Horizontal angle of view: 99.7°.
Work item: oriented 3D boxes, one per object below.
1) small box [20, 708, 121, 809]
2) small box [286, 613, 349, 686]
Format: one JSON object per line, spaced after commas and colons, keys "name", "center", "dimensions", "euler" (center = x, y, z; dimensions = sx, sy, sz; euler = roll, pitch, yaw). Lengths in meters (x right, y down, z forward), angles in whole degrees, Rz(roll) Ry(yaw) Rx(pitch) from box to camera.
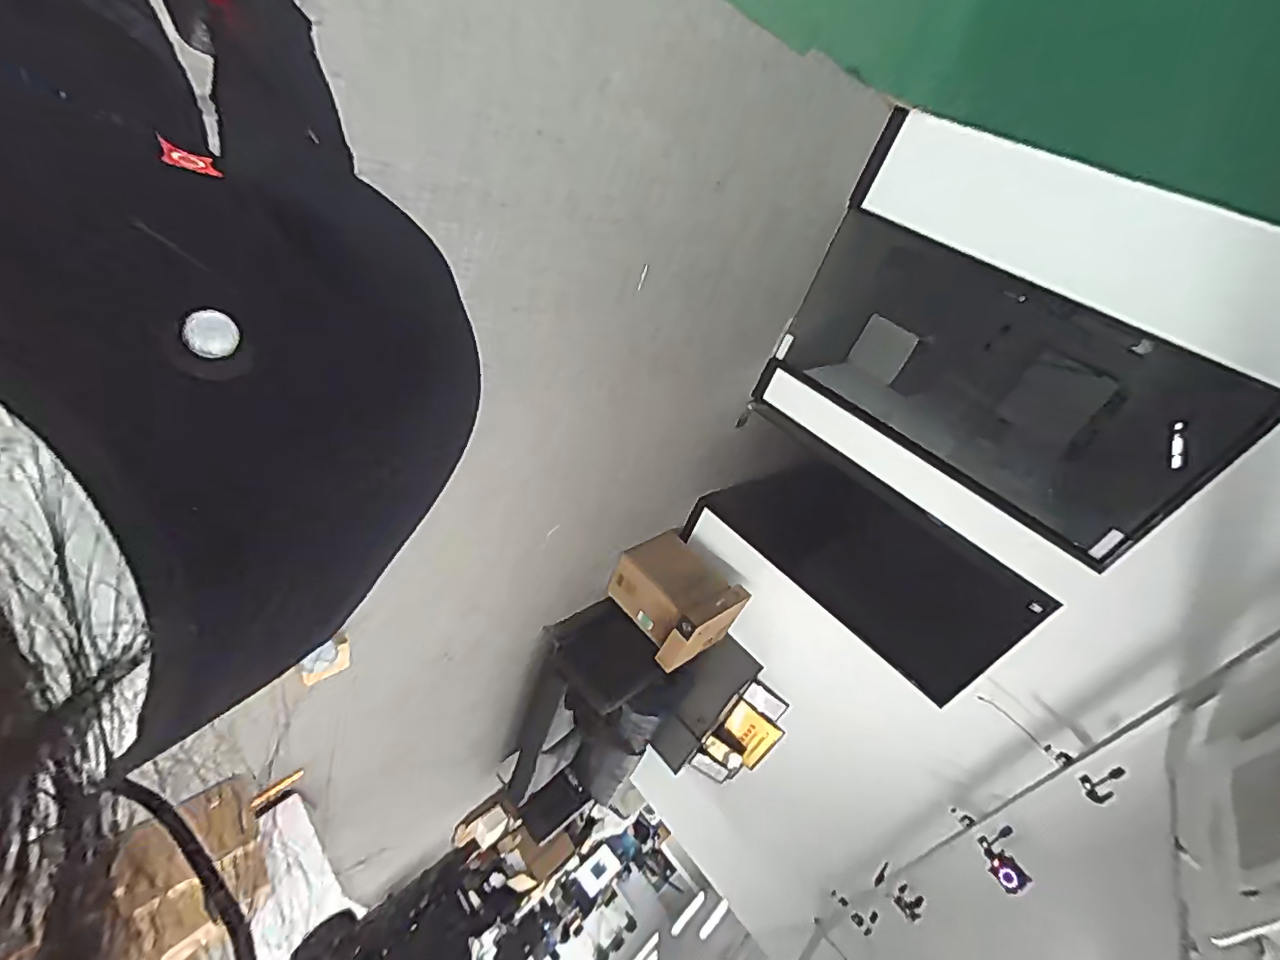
{"name": "small box", "center": [-1.719, 0.835, 1.632], "dimensions": [0.179, 0.176, 0.168], "euler": [-21, 142, -44]}
{"name": "small box", "center": [-1.251, 0.653, 2.098], "dimensions": [0.168, 0.176, 0.179], "euler": [-21, 142, -44]}
